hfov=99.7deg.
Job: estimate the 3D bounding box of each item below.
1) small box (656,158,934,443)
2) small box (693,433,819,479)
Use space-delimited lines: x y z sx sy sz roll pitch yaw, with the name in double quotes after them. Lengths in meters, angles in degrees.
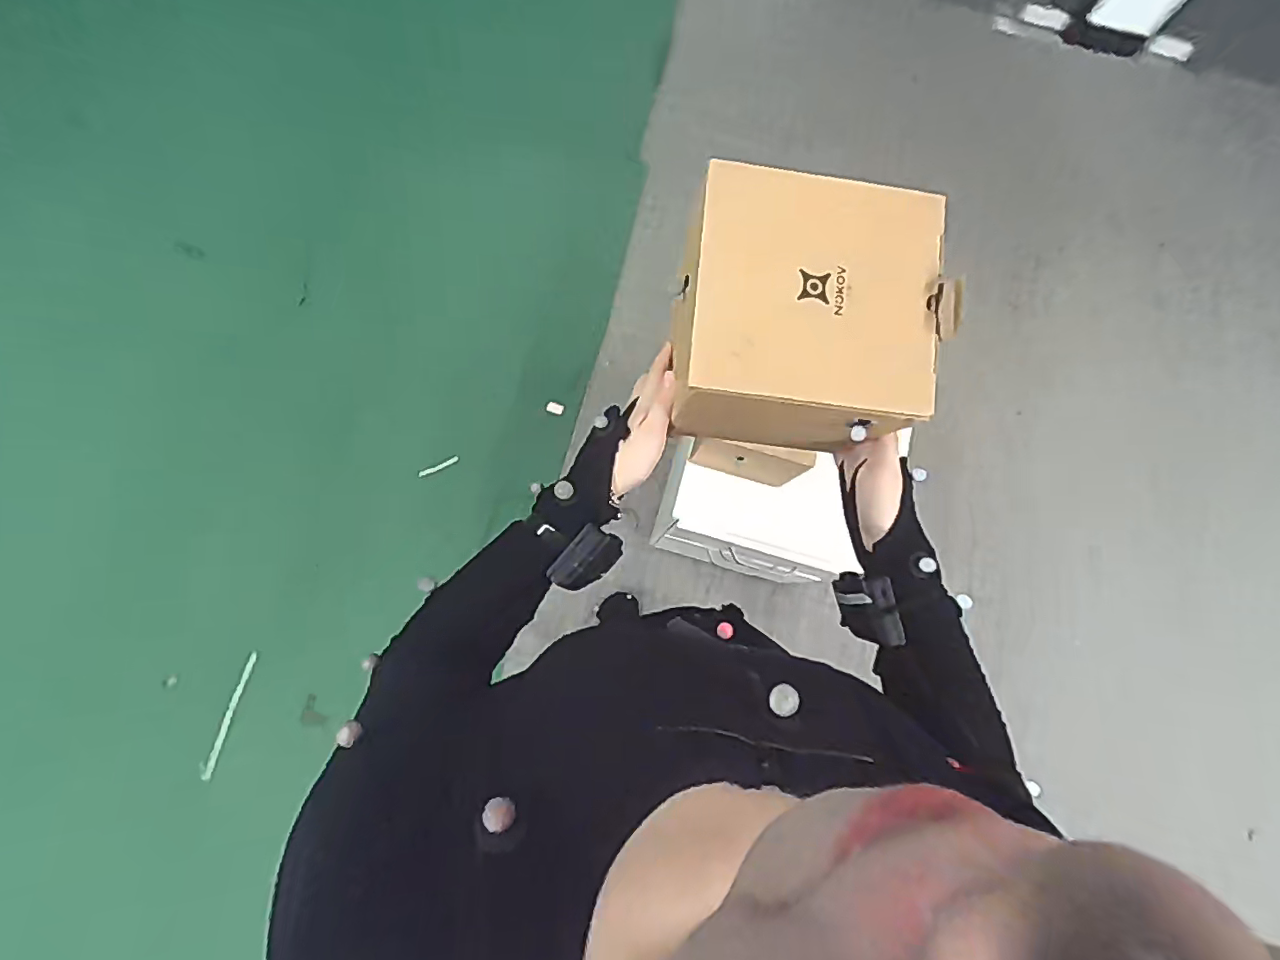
0.111 -0.128 0.451 0.179 0.176 0.168 5 85 -5 "small box"
0.198 -0.110 0.913 0.179 0.176 0.168 16 78 0 "small box"
